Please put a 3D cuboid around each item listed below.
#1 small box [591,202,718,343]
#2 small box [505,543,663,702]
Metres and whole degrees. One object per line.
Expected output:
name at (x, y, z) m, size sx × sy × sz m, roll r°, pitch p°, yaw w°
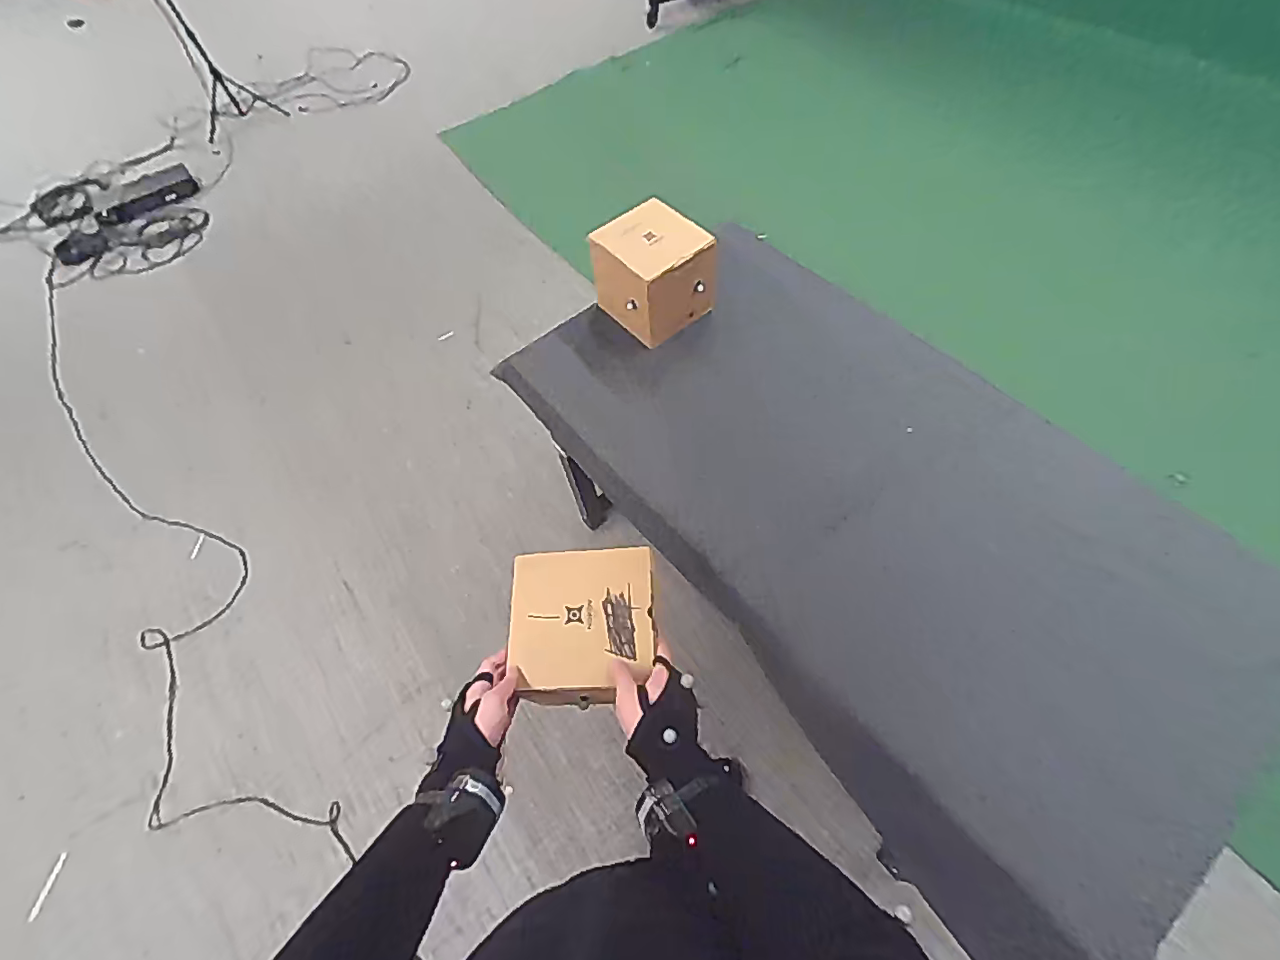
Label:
small box at (0.029, -0.391, 1.041) m, size 0.168 × 0.176 × 0.179 m, roll -36°, pitch 63°, yaw -18°
small box at (-0.059, 0.189, 0.701) m, size 0.179 × 0.176 × 0.168 m, roll -3°, pitch 61°, yaw 3°
